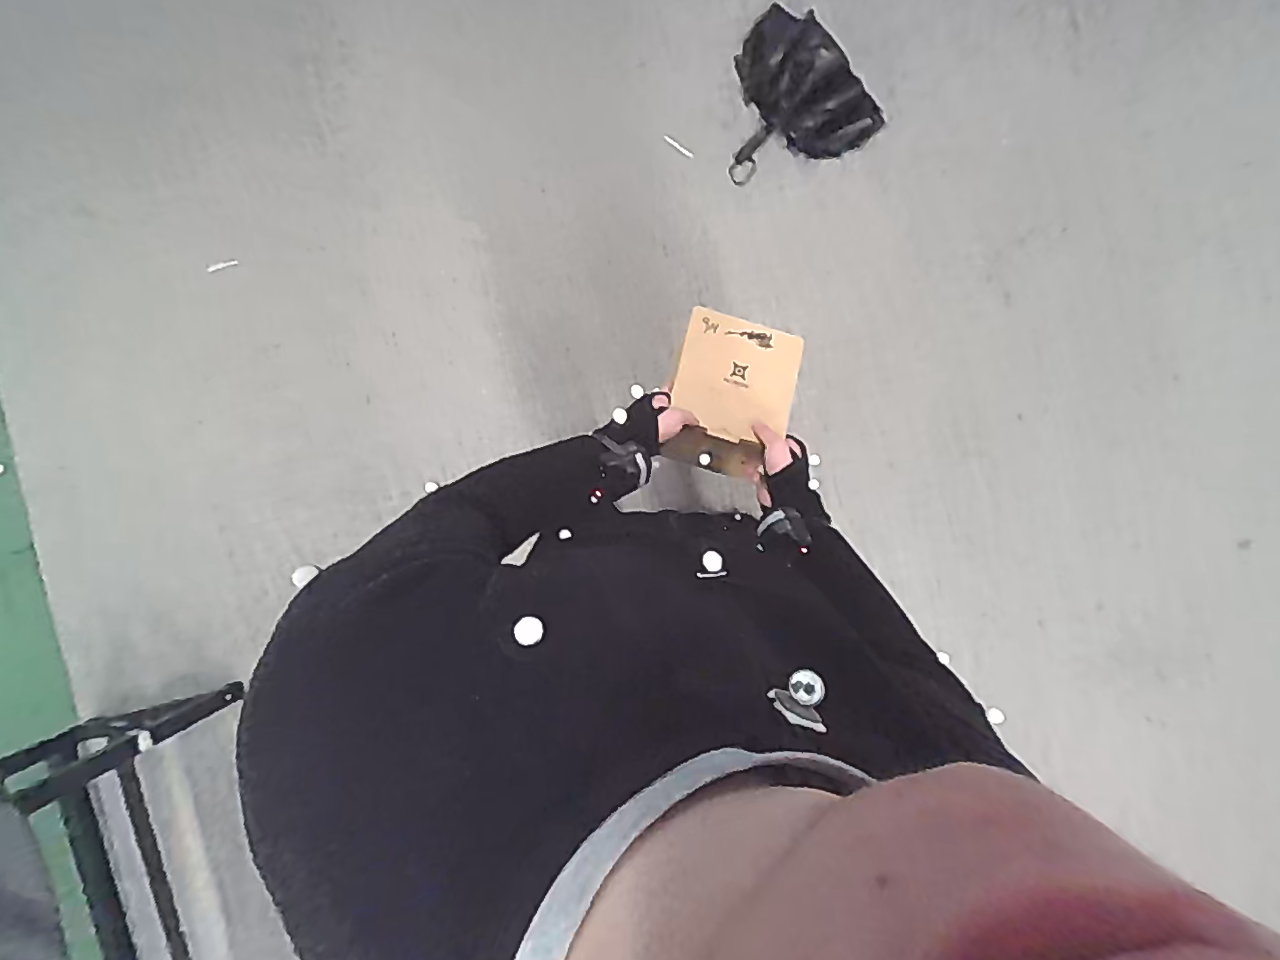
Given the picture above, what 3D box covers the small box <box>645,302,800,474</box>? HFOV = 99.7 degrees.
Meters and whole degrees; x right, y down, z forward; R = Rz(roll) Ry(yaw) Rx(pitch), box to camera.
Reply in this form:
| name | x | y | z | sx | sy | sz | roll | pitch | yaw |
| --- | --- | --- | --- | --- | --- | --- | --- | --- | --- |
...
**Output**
| name | x | y | z | sx | sy | sz | roll | pitch | yaw |
| --- | --- | --- | --- | --- | --- | --- | --- | --- | --- |
| small box | 0.110 | -0.122 | 0.793 | 0.168 | 0.176 | 0.179 | 17 | 76 | -4 |
